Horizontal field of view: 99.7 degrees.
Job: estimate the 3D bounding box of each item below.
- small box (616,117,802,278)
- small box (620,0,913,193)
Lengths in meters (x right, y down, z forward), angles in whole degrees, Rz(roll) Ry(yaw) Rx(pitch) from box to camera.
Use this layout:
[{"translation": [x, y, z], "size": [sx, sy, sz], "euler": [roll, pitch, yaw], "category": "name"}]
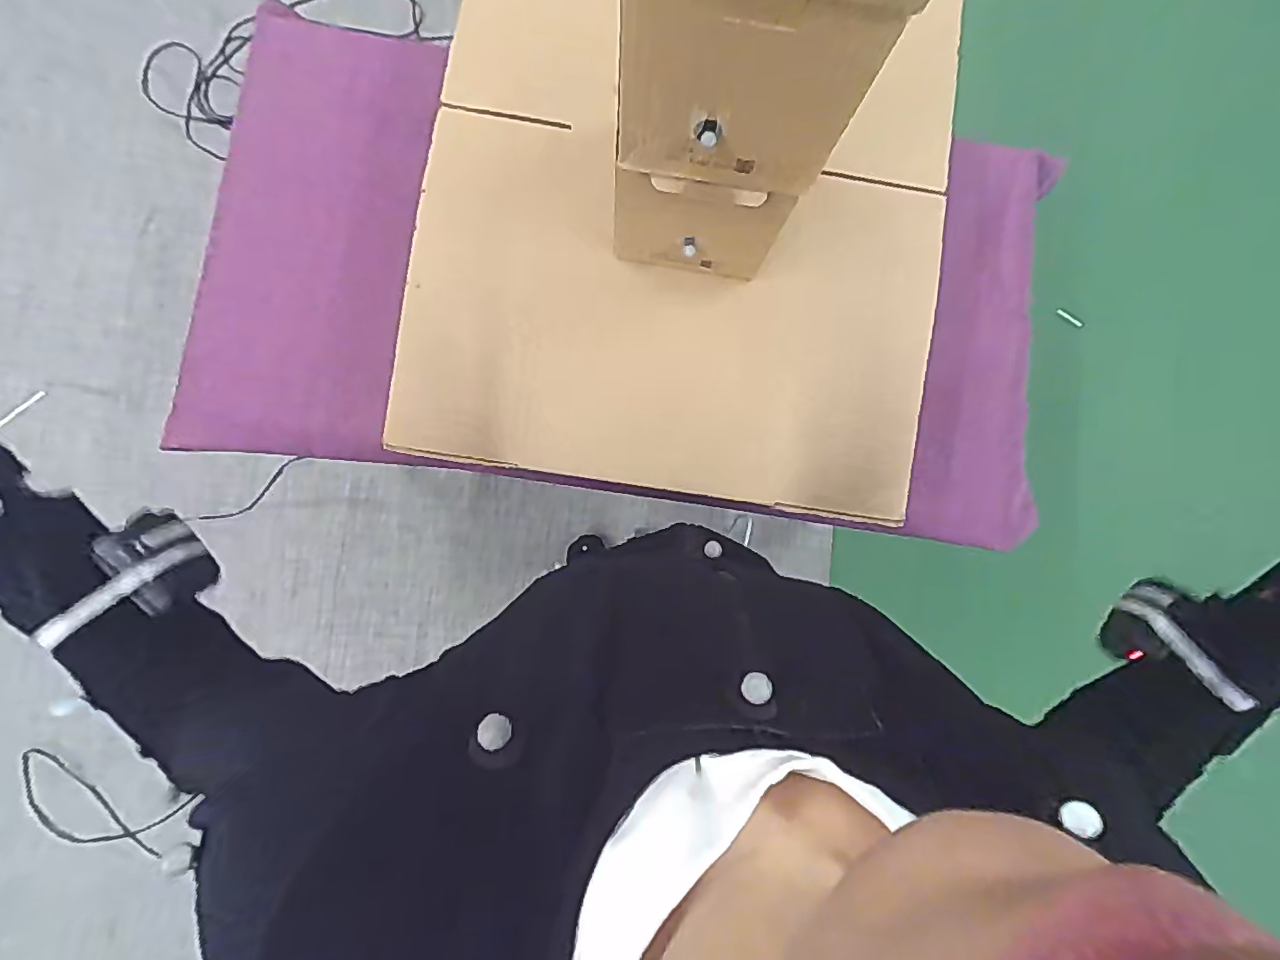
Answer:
[{"translation": [0.068, -0.337, 0.549], "size": [0.168, 0.176, 0.179], "euler": [9, 83, -2], "category": "small box"}, {"translation": [0.077, -0.347, 0.387], "size": [0.168, 0.176, 0.179], "euler": [7, 84, -2], "category": "small box"}]
